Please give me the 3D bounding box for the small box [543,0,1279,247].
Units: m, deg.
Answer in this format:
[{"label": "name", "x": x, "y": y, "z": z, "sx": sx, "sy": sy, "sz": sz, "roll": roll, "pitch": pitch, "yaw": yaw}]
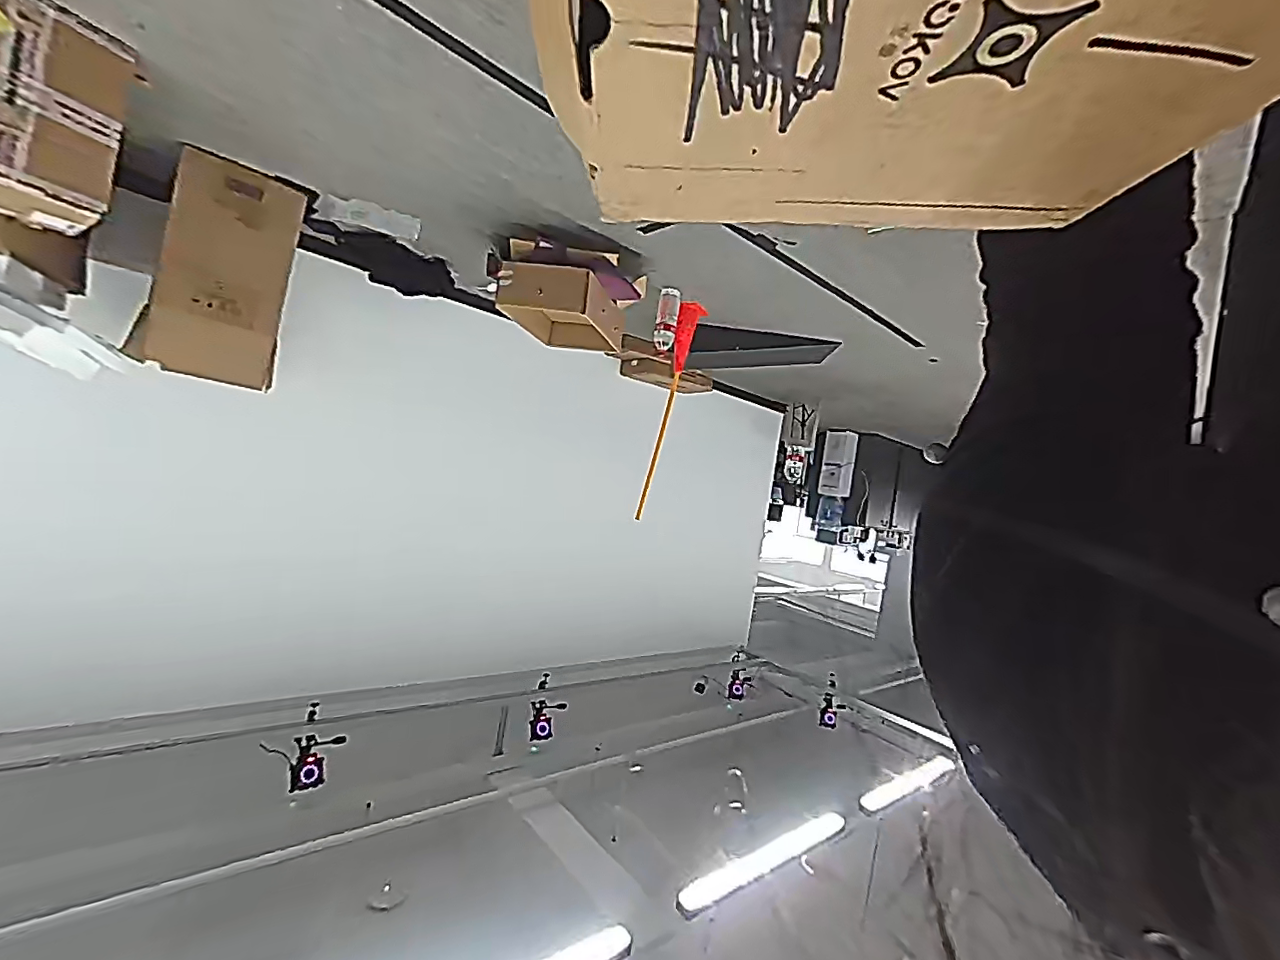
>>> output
[{"label": "small box", "x": 0.070, "y": -0.174, "z": 0.115, "sx": 0.179, "sy": 0.176, "sz": 0.168, "roll": 2, "pitch": 179, "yaw": -2}]
